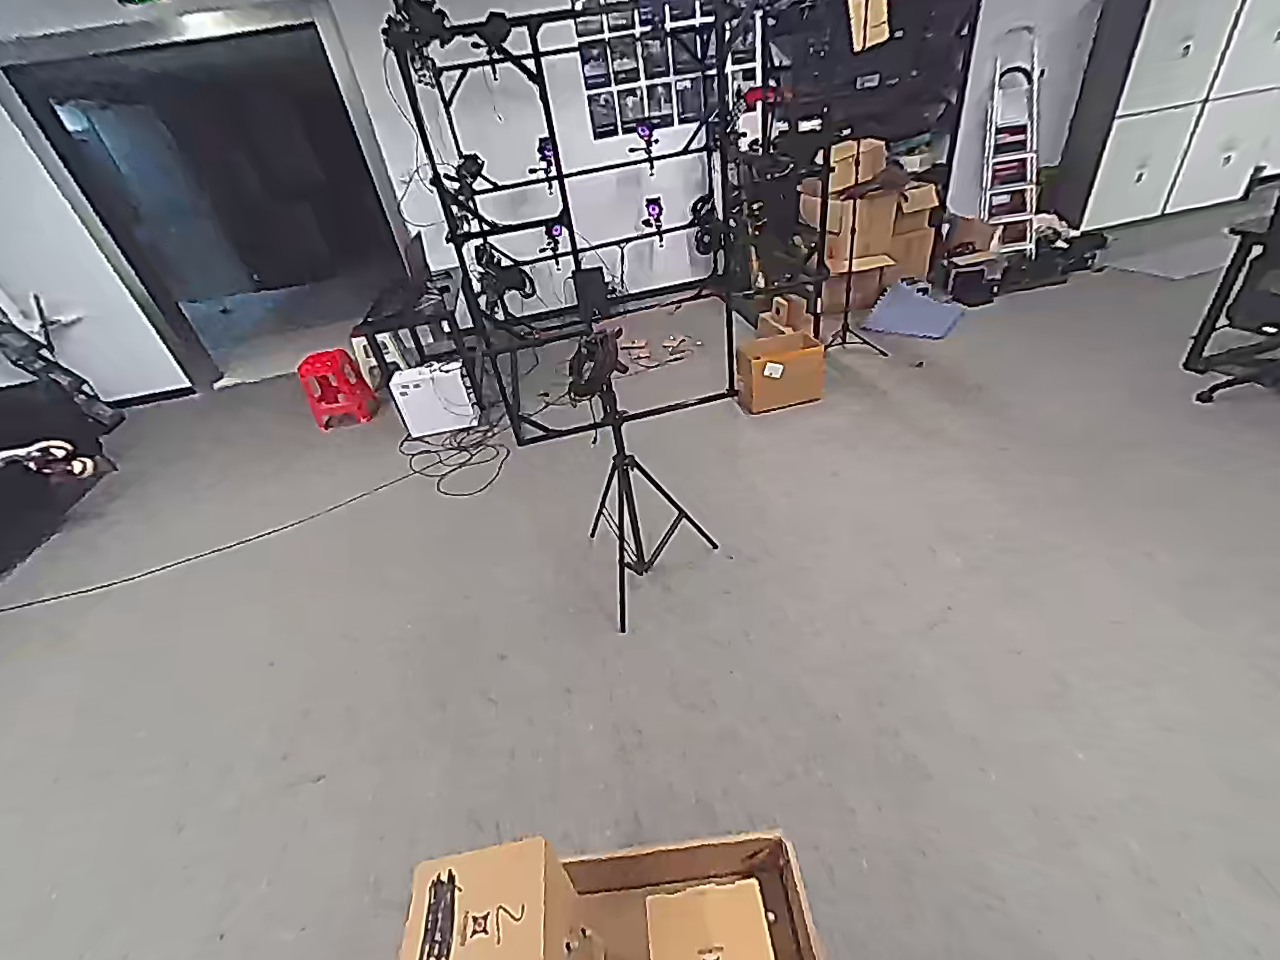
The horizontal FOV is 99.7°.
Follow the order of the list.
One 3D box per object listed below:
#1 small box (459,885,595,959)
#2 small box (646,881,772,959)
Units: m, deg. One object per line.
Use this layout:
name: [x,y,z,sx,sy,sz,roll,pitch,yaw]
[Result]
small box: [-0.158,0.735,0.781,0.168,0.176,0.179,-13,34,-2]
small box: [0.107,0.708,0.758,0.168,0.176,0.179,-10,34,0]
